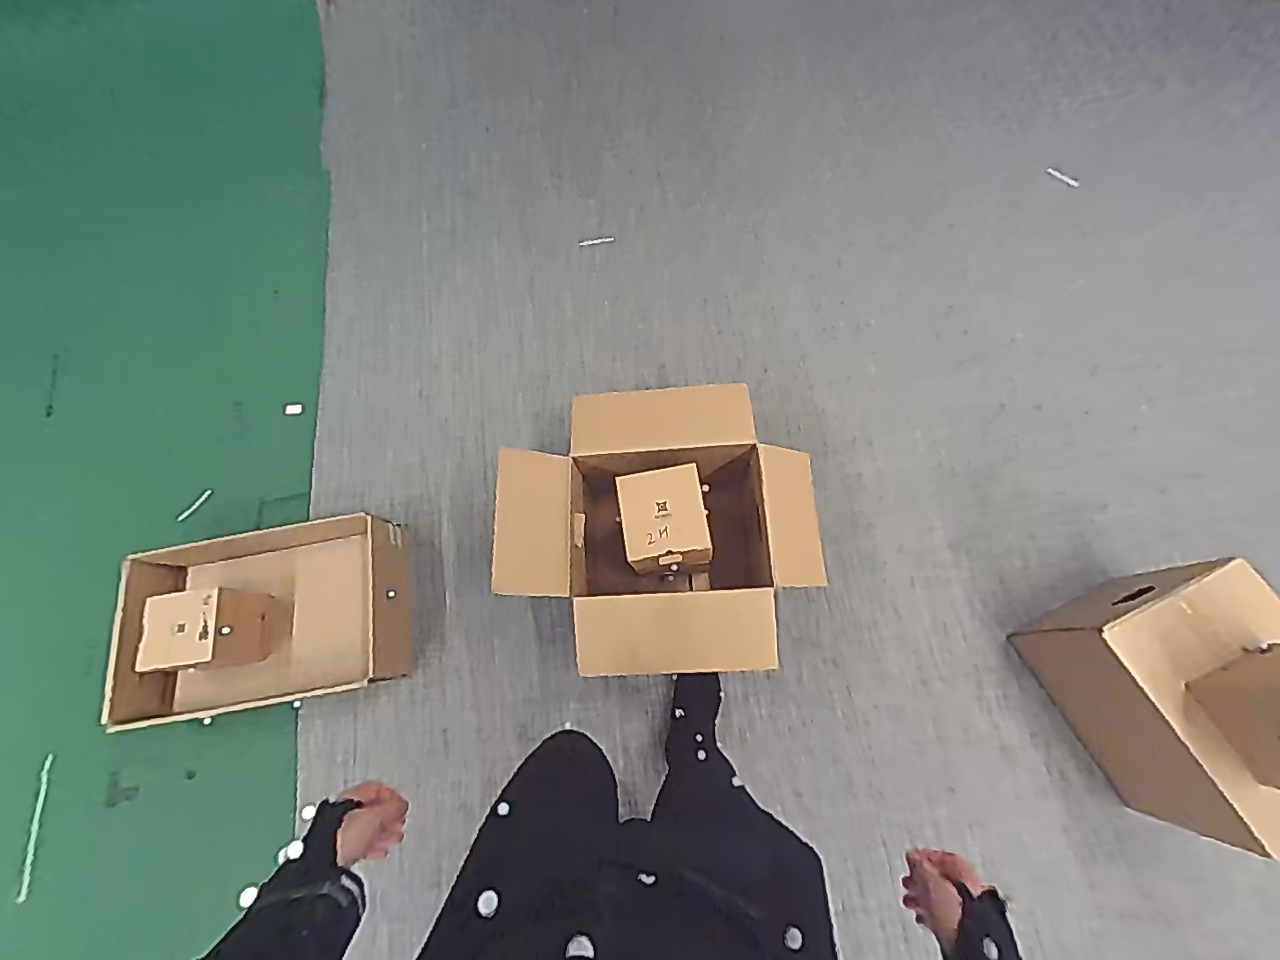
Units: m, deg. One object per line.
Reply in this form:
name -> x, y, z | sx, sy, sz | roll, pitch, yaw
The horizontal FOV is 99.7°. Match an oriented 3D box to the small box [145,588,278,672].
small box -> -1.015, 0.364, 1.296 | 0.179, 0.176, 0.168 | -10, 71, 2

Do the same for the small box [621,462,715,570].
small box -> 0.061, 0.082, 1.144 | 0.168, 0.176, 0.179 | -11, 72, 5

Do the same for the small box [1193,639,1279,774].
small box -> 1.049, 0.355, 0.840 | 0.168, 0.176, 0.179 | -26, 72, -2
